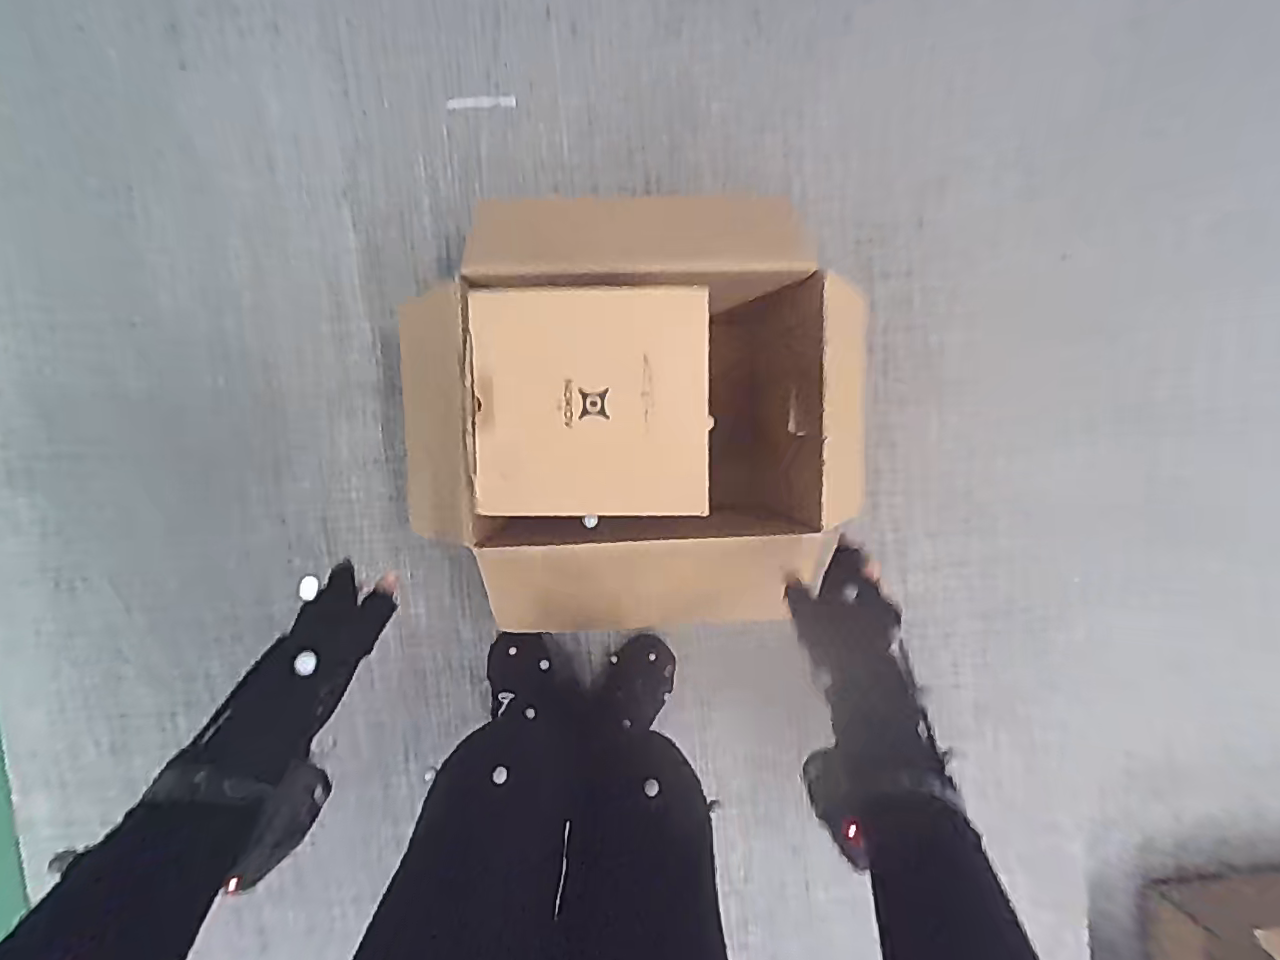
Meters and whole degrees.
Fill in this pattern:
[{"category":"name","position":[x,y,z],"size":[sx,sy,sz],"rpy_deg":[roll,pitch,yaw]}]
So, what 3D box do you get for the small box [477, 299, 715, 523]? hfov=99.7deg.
[{"category":"small box","position":[-0.031,-0.056,0.481],"size":[0.179,0.176,0.168],"rpy_deg":[-2,95,0]}]
